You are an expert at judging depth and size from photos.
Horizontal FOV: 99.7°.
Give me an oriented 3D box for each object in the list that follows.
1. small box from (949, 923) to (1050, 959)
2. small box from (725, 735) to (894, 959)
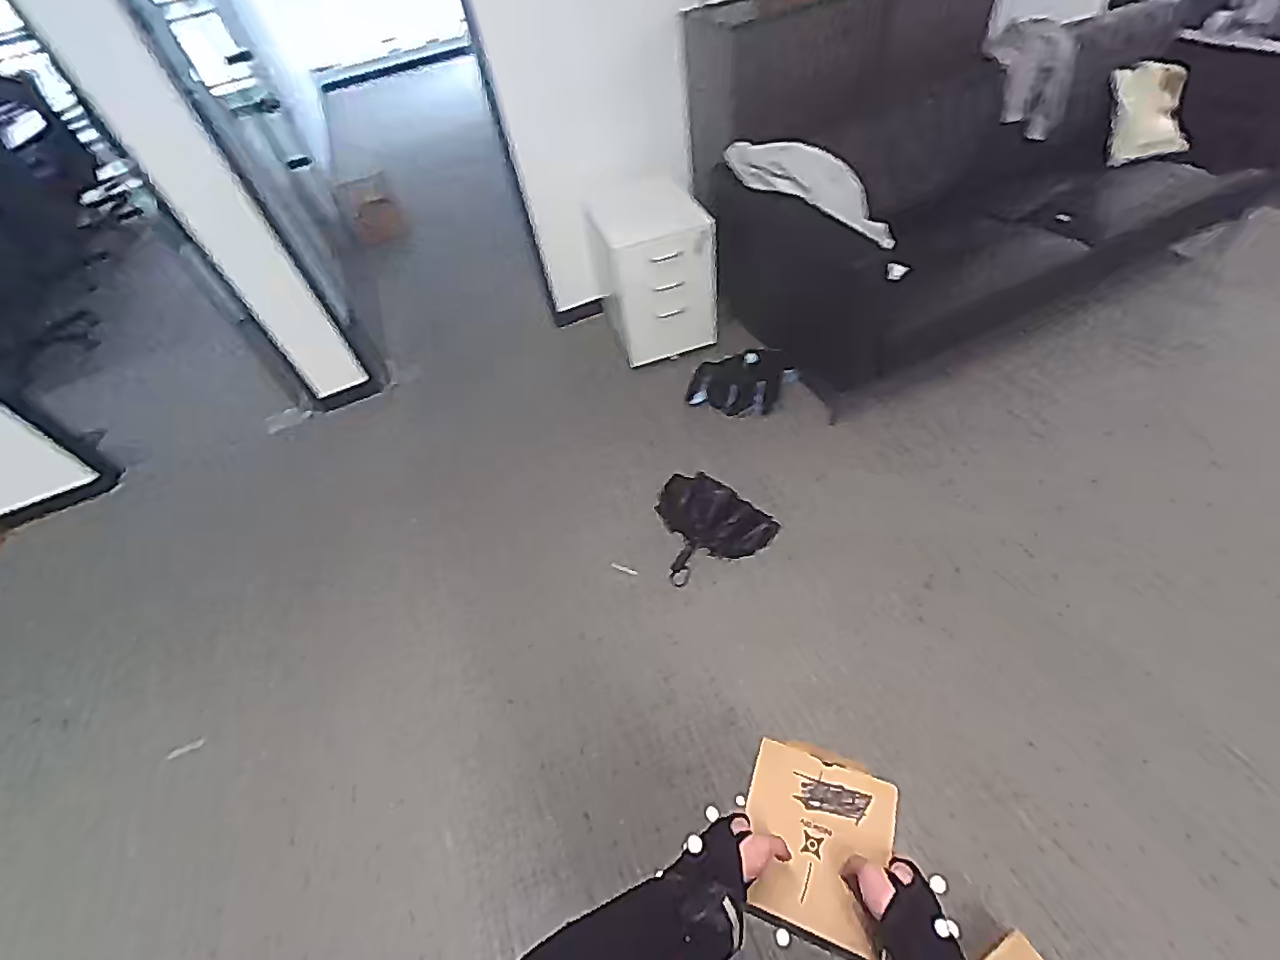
[{"bbox_3d":[0.688,0.969,1.004,0.179,0.176,0.168,-28,52,-15],"label":"small box"},{"bbox_3d":[0.205,0.456,0.676,0.168,0.176,0.179,11,53,18],"label":"small box"}]
